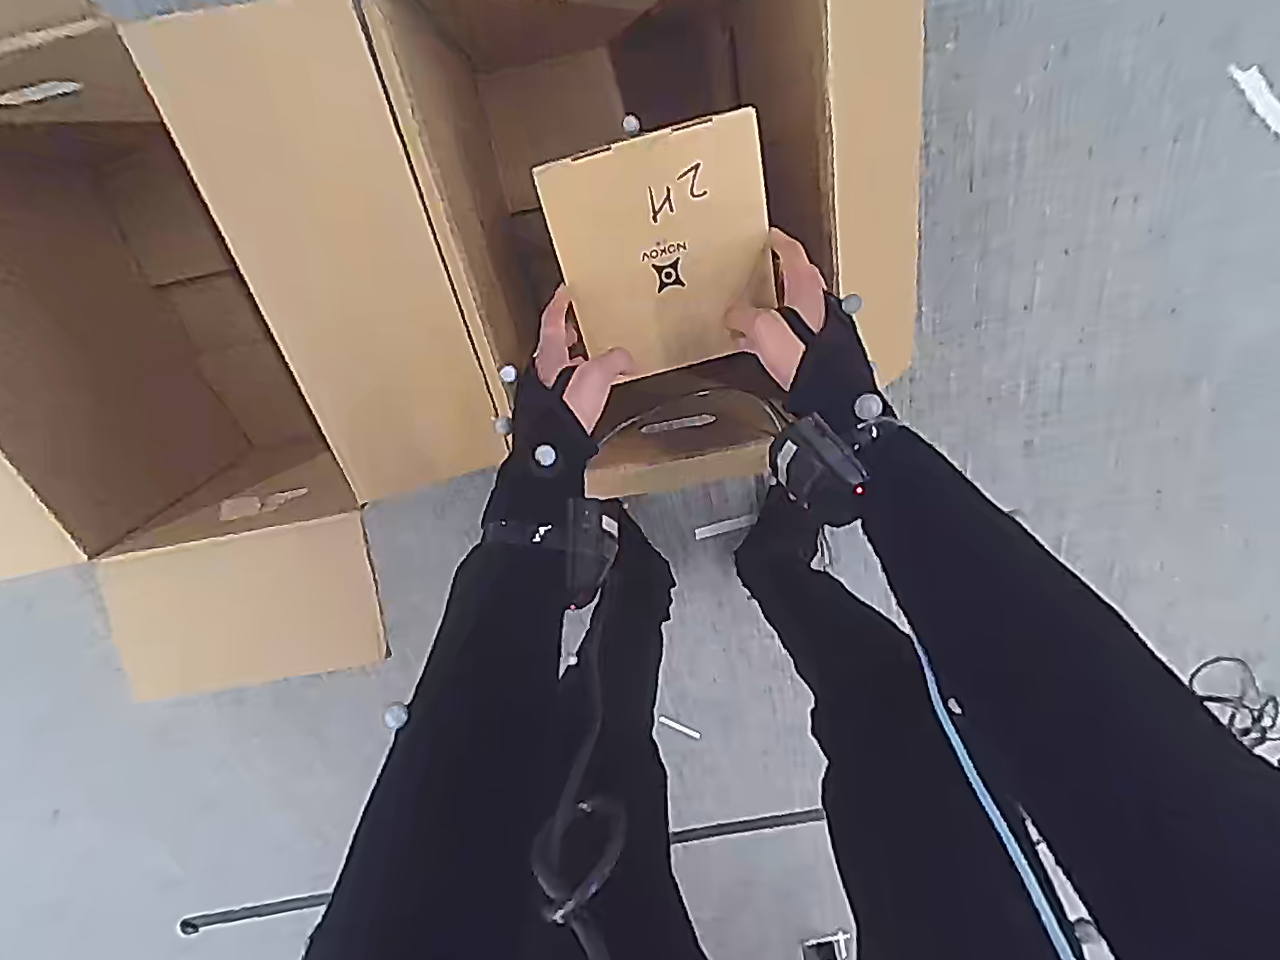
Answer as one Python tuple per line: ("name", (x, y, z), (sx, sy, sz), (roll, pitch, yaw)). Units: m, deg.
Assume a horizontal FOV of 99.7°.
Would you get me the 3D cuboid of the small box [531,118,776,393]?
("small box", (0.015, -0.206, 0.490), (0.168, 0.176, 0.179), (-14, 121, 3))
